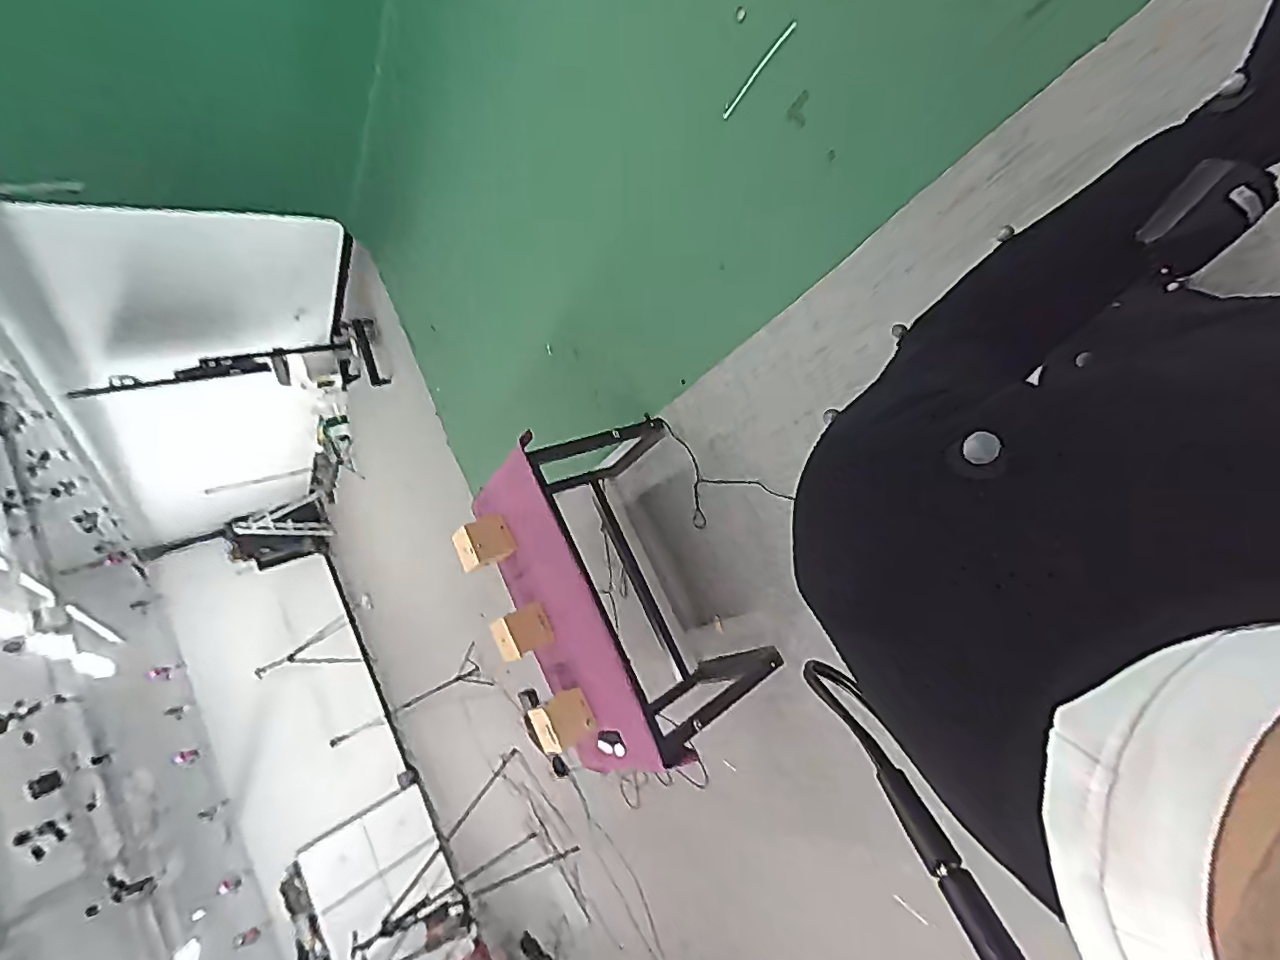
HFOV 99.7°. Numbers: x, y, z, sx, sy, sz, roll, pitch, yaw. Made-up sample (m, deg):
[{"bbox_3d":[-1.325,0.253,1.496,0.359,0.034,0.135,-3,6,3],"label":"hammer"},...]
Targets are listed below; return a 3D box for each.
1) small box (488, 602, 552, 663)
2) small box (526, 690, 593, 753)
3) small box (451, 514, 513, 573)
[{"bbox_3d":[-0.472,0.604,2.142,0.179,0.176,0.168,-37,76,49],"label":"small box"},{"bbox_3d":[-0.302,0.918,2.063,0.179,0.176,0.168,-37,75,50],"label":"small box"},{"bbox_3d":[-0.640,0.257,2.199,0.179,0.176,0.168,-35,79,51],"label":"small box"}]
